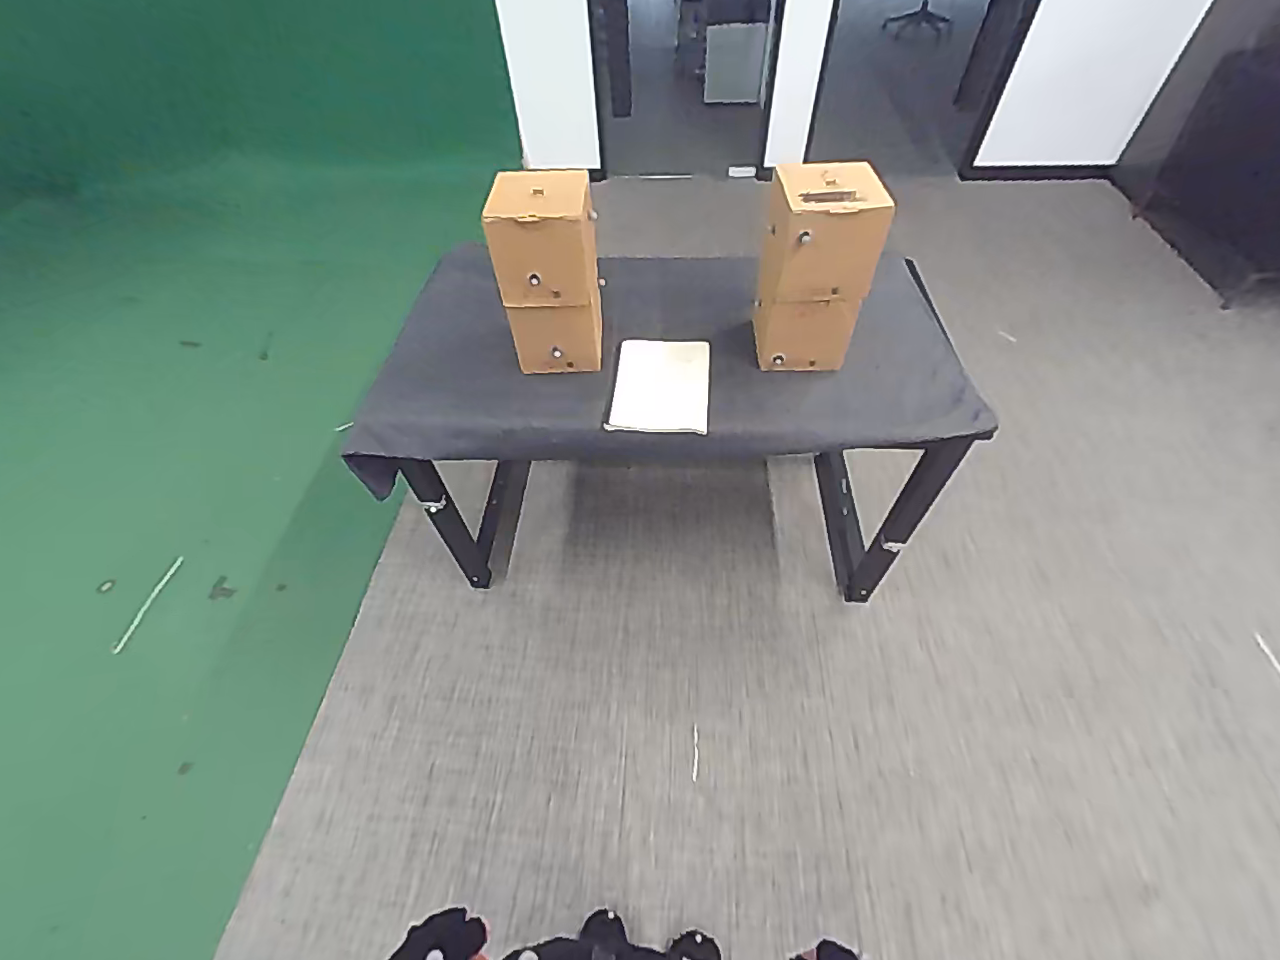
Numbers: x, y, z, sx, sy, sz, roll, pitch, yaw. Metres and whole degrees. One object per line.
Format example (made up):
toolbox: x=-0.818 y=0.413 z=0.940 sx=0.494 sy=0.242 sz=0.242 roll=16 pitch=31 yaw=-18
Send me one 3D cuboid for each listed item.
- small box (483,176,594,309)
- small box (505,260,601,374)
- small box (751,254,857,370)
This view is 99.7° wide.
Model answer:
small box: x=-0.174 y=-0.434 z=0.990 sx=0.168 sy=0.176 sz=0.179 roll=-1 pitch=51 yaw=0
small box: x=-0.171 y=-0.339 z=1.122 sx=0.168 sy=0.176 sz=0.179 roll=-3 pitch=51 yaw=0
small box: x=0.325 y=-0.340 z=1.107 sx=0.168 sy=0.176 sz=0.179 roll=1 pitch=50 yaw=2
